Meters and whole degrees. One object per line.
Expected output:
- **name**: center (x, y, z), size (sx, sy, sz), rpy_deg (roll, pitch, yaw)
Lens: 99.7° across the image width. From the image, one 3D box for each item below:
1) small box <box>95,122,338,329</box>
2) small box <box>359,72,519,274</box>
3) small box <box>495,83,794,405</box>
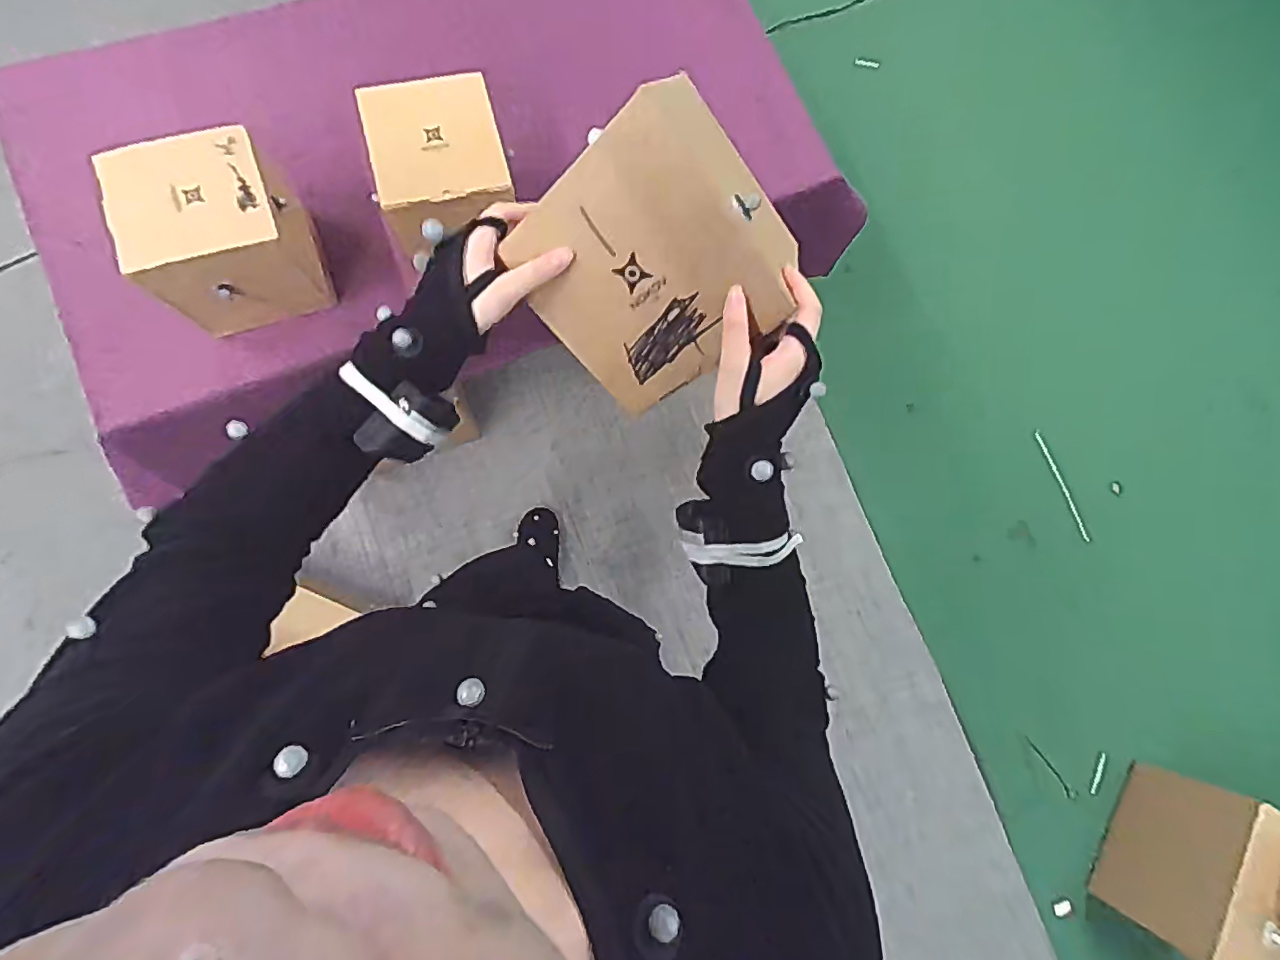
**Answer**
- **small box**: center (-0.547, -0.325, 0.722), size (0.179, 0.176, 0.168), rpy_deg (-20, 85, -8)
- **small box**: center (-0.272, -0.427, 0.773), size (0.168, 0.176, 0.179), rpy_deg (-15, 84, -9)
- **small box**: center (0.019, -0.204, 0.466), size (0.179, 0.168, 0.176), rpy_deg (47, 34, -21)
